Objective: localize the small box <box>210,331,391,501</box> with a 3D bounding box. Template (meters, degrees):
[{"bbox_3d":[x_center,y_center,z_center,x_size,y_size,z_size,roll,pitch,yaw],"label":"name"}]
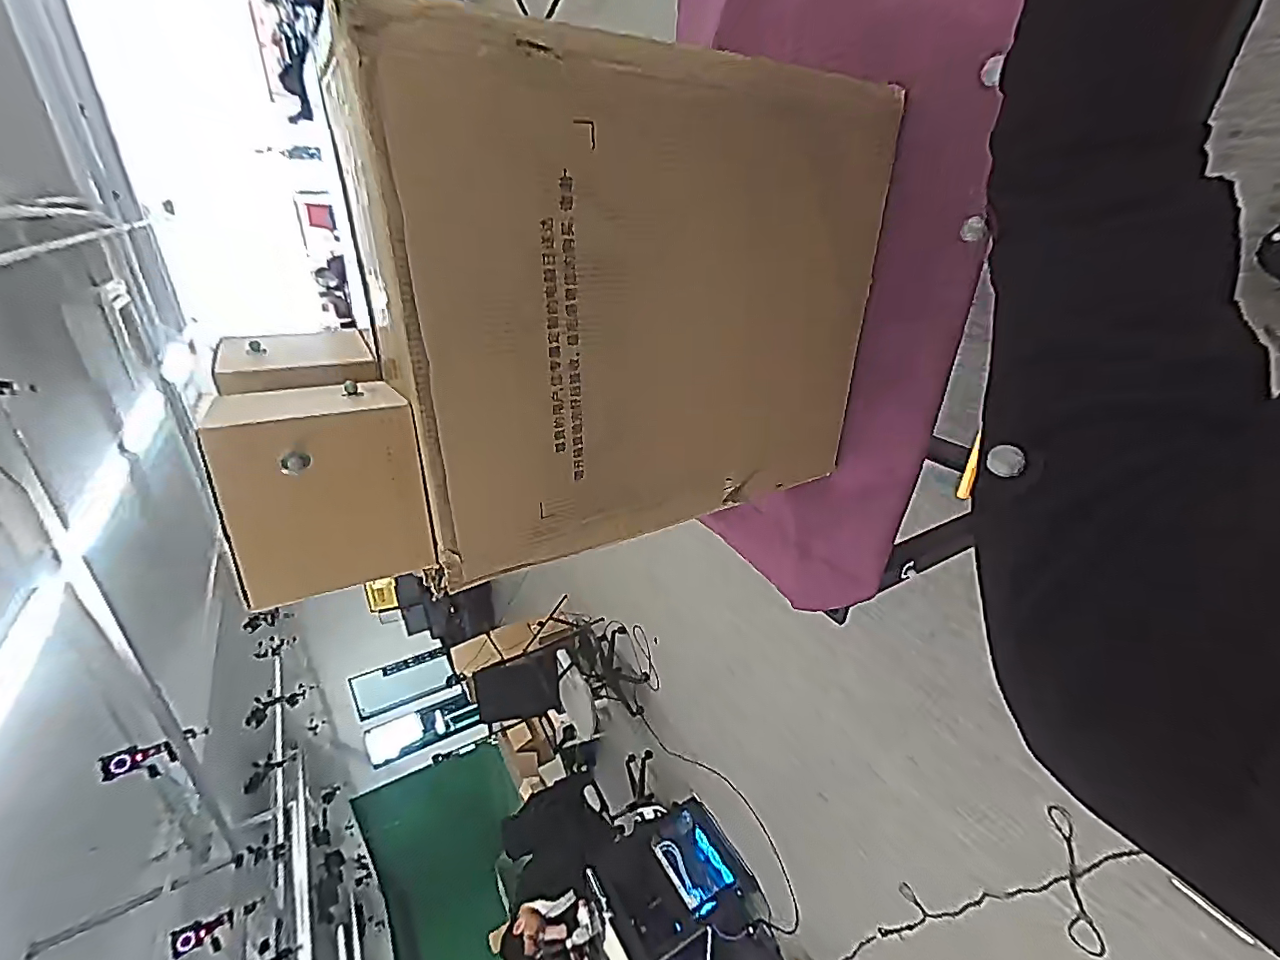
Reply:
[{"bbox_3d":[-0.442,-0.098,0.725,0.179,0.176,0.168,41,135,48],"label":"small box"}]
